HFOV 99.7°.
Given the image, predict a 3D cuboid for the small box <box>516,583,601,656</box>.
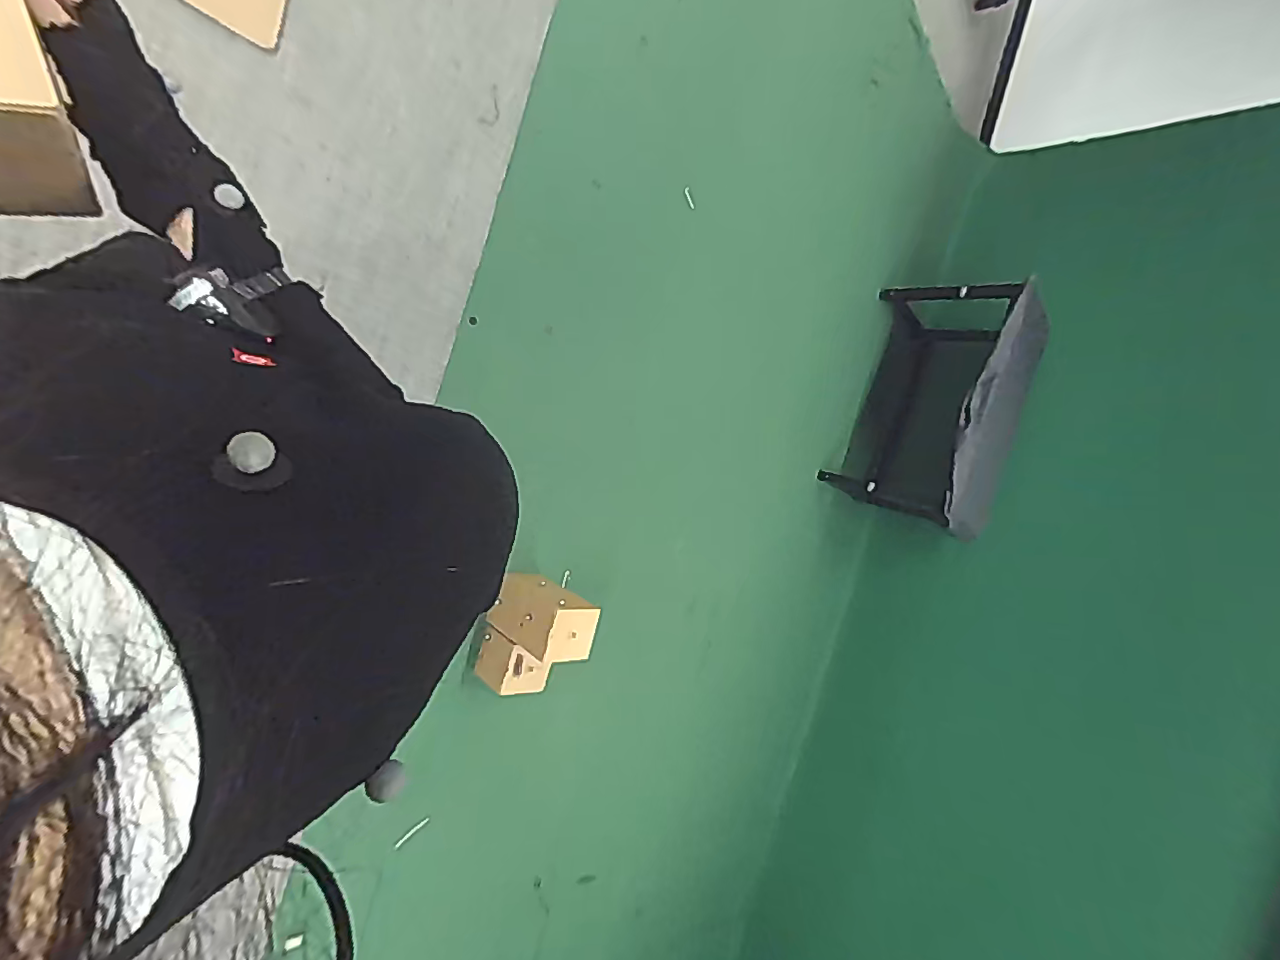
[{"bbox_3d":[-0.255,0.427,1.680,0.179,0.176,0.168,12,94,-45],"label":"small box"}]
